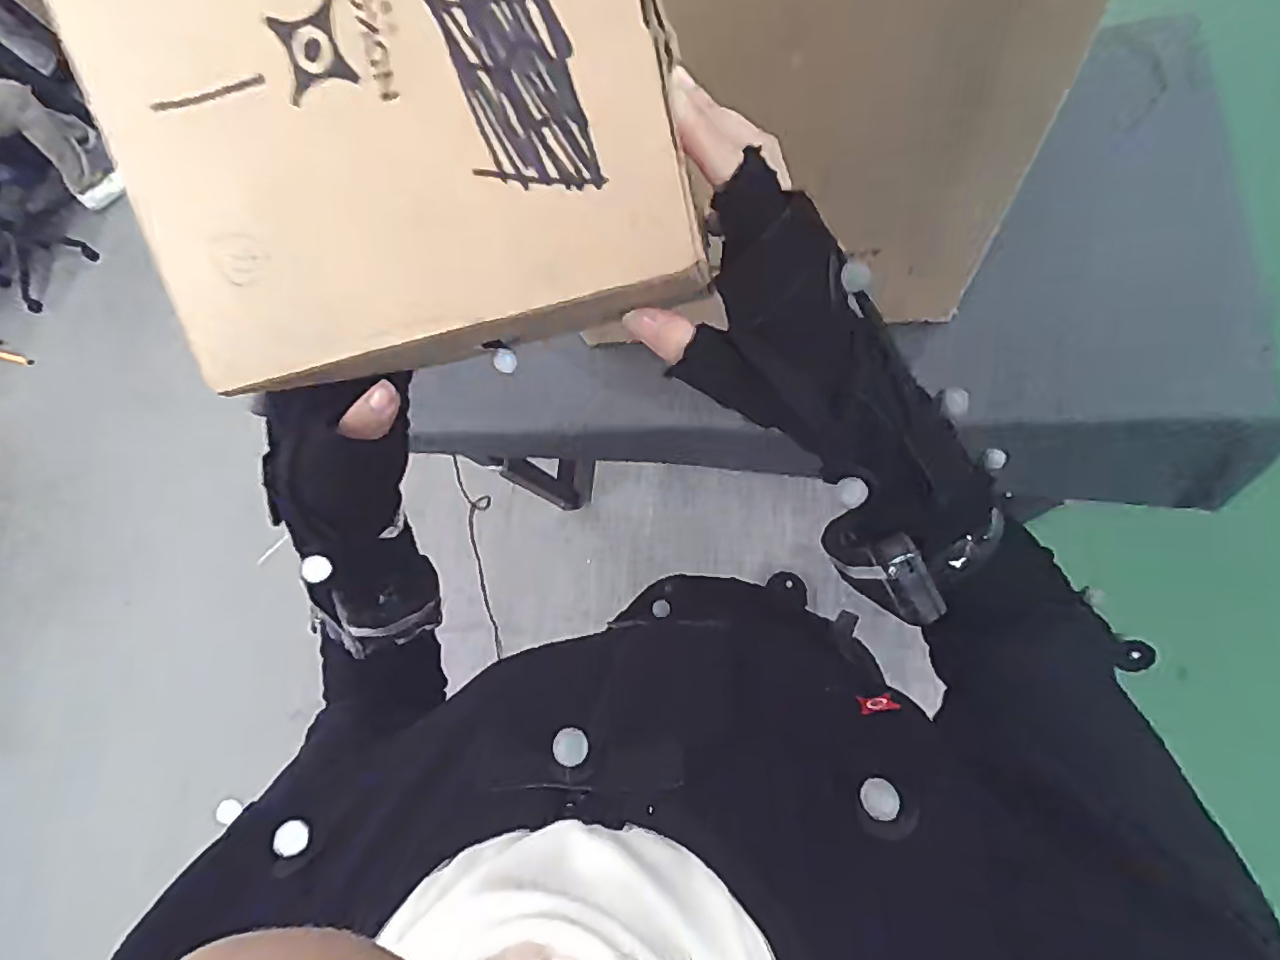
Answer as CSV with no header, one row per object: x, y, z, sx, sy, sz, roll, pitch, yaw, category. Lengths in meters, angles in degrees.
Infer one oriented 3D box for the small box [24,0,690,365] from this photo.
-0.078,-0.152,0.223,0.179,0.176,0.168,-9,104,13,small box
